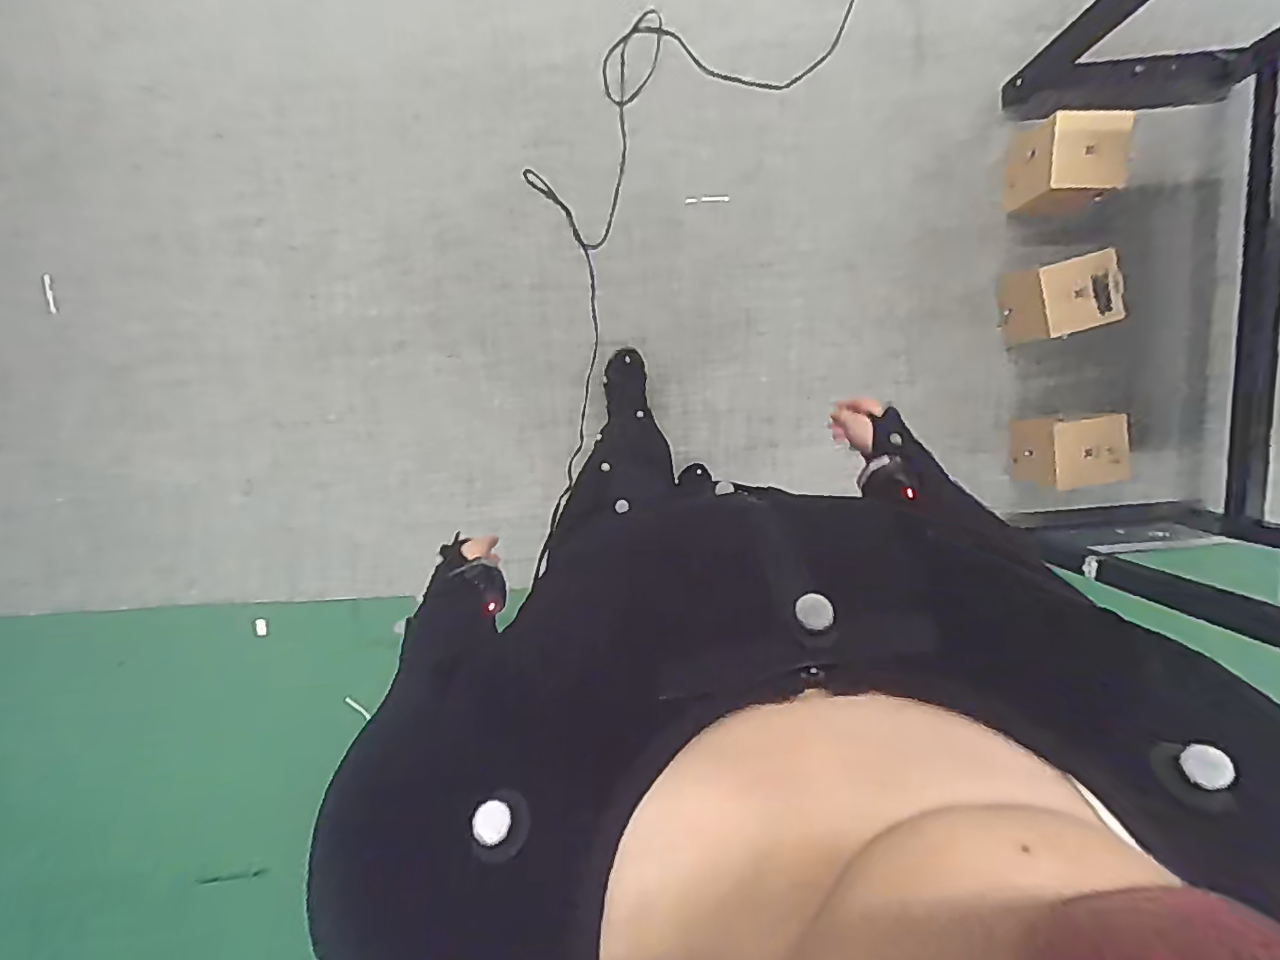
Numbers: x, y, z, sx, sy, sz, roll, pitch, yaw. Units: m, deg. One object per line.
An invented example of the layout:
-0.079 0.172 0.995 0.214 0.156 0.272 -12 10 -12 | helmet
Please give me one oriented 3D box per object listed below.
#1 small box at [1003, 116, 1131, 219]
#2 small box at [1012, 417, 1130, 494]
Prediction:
1.008 -0.737 1.292 0.179 0.176 0.168 0 96 0 | small box
1.075 -0.065 1.366 0.179 0.176 0.168 -9 97 2 | small box
